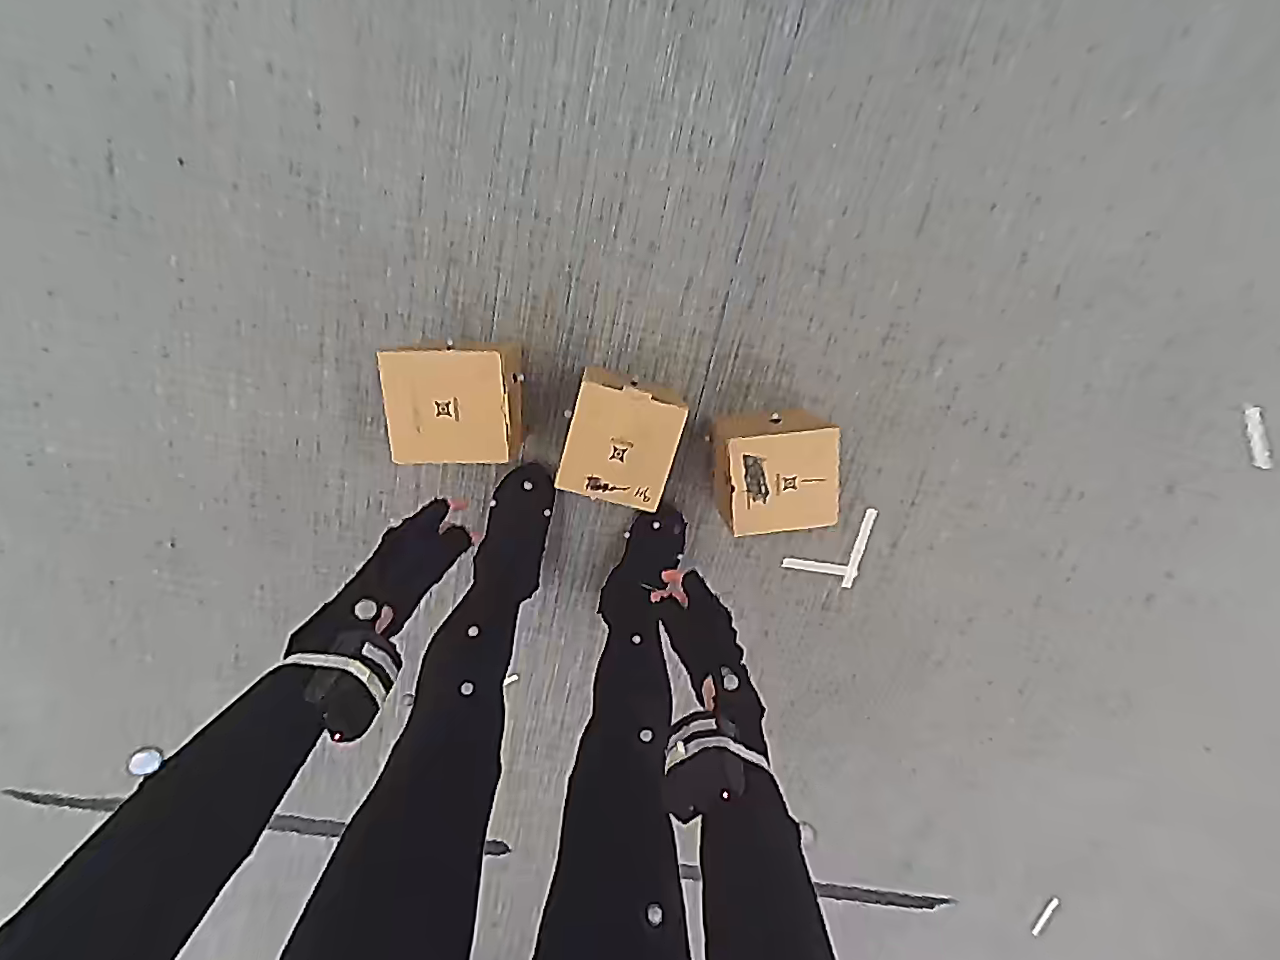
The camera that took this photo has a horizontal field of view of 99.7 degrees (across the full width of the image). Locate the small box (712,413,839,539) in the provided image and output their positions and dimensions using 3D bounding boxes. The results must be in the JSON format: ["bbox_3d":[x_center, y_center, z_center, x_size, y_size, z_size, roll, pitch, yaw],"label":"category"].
[{"bbox_3d":[0.221,-0.014,0.923,0.179,0.176,0.168,-6,108,-2],"label":"small box"}]

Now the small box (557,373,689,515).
[{"bbox_3d":[-0.033,-0.068,0.892,0.168,0.176,0.179,15,106,-8],"label":"small box"}]

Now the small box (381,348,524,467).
[{"bbox_3d":[-0.283,-0.121,0.860,0.179,0.176,0.168,-1,107,-2],"label":"small box"}]
